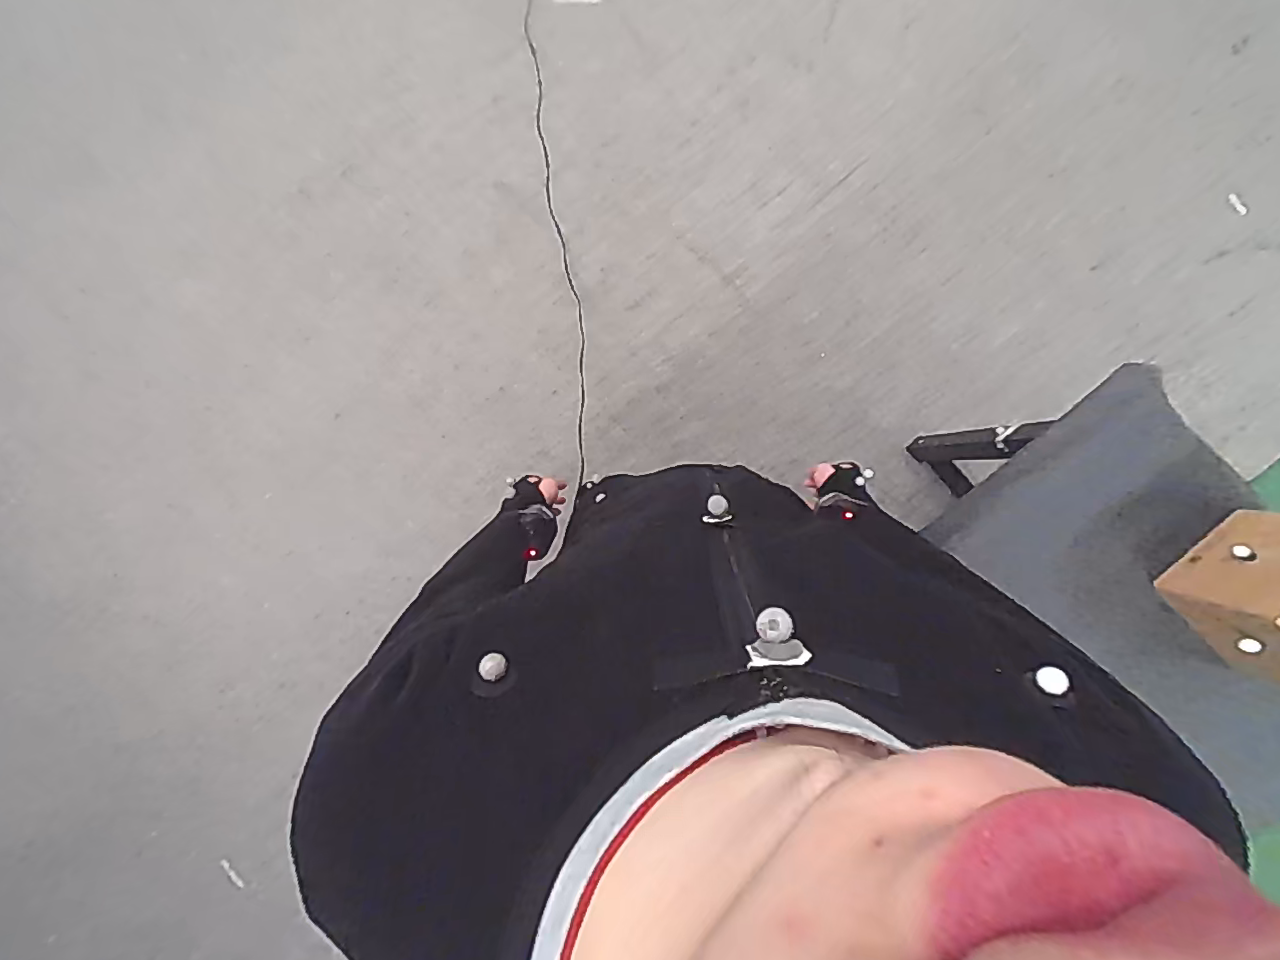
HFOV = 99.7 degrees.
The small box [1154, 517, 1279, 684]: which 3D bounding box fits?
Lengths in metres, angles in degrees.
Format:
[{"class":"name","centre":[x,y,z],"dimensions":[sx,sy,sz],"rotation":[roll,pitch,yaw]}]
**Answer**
[{"class":"small box","centre":[0.852,0.162,0.705],"dimensions":[0.168,0.176,0.179],"rotation":[-44,89,5]}]
